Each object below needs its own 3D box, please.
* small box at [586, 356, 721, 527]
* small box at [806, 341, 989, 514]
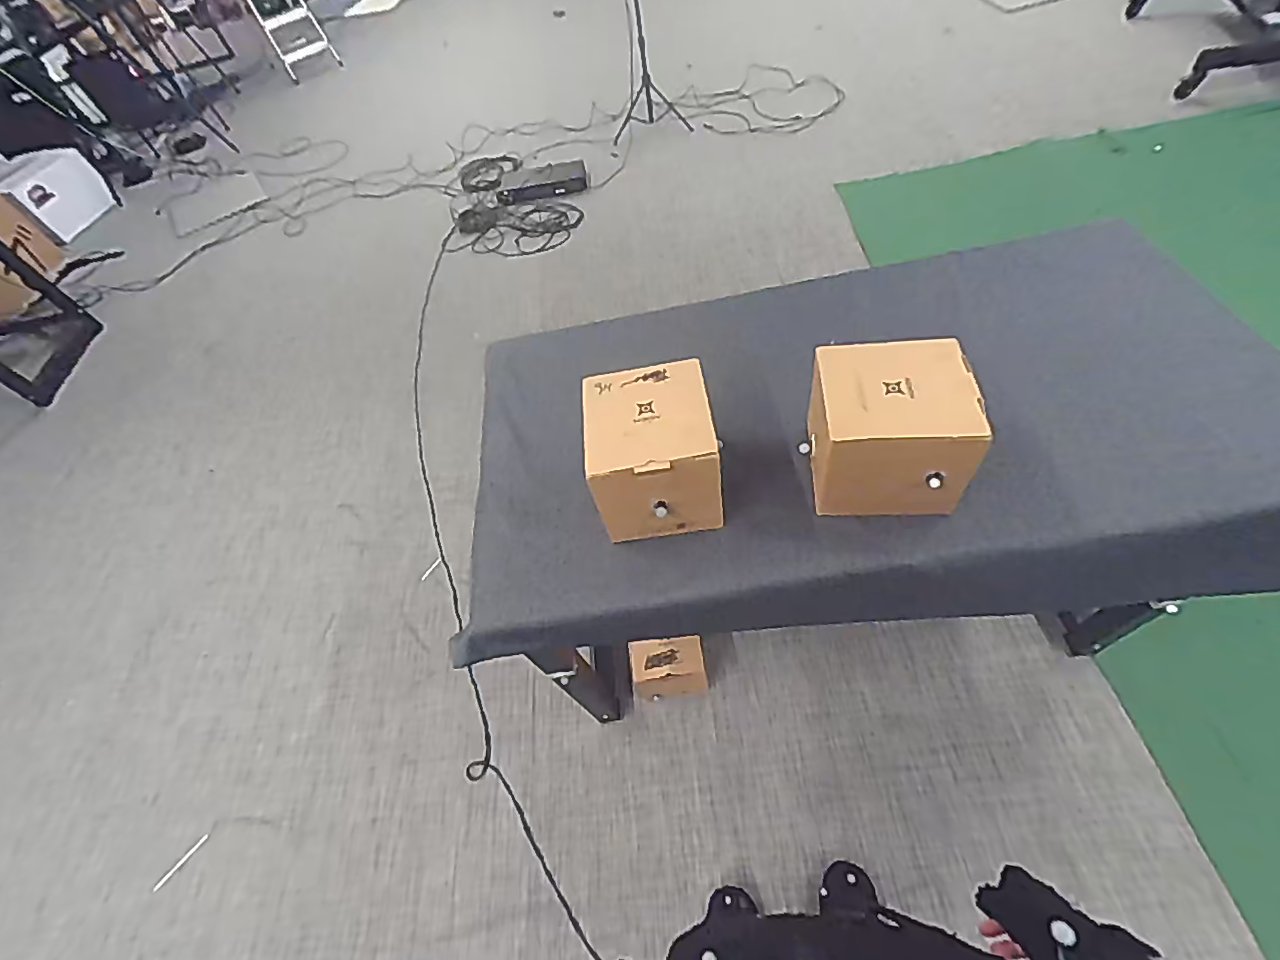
[{"bbox_3d":[0.022,-0.045,0.768,0.168,0.176,0.179,-8,55,5],"label":"small box"},{"bbox_3d":[0.328,-0.065,0.729,0.179,0.176,0.168,-1,55,11],"label":"small box"}]
